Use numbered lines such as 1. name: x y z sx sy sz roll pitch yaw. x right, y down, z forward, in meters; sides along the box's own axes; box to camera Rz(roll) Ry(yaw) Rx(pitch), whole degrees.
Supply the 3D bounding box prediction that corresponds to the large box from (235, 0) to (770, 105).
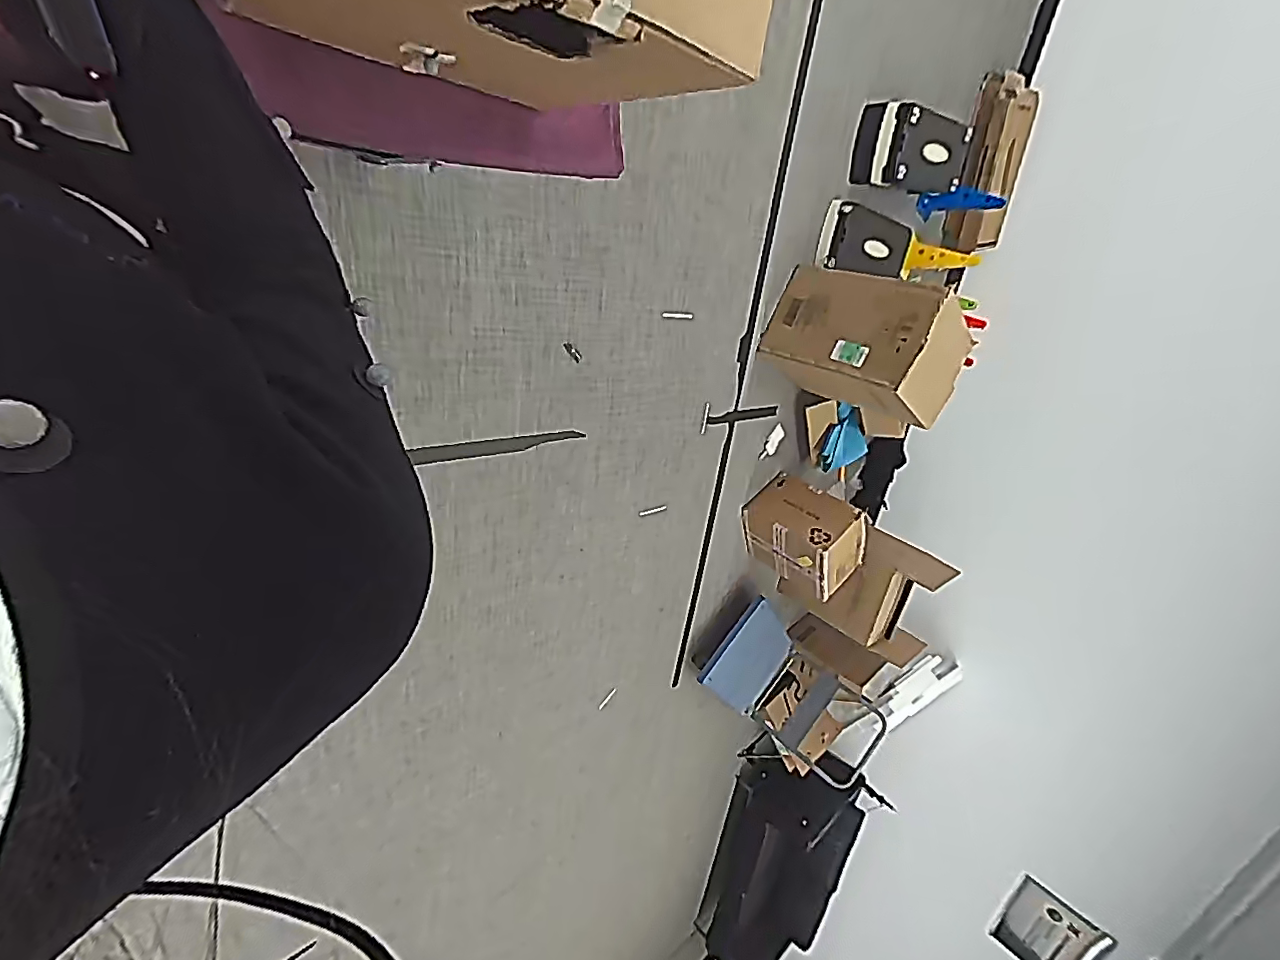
1. large box: -0.096 -0.528 0.354 0.320 0.320 0.408 -15 121 -42
